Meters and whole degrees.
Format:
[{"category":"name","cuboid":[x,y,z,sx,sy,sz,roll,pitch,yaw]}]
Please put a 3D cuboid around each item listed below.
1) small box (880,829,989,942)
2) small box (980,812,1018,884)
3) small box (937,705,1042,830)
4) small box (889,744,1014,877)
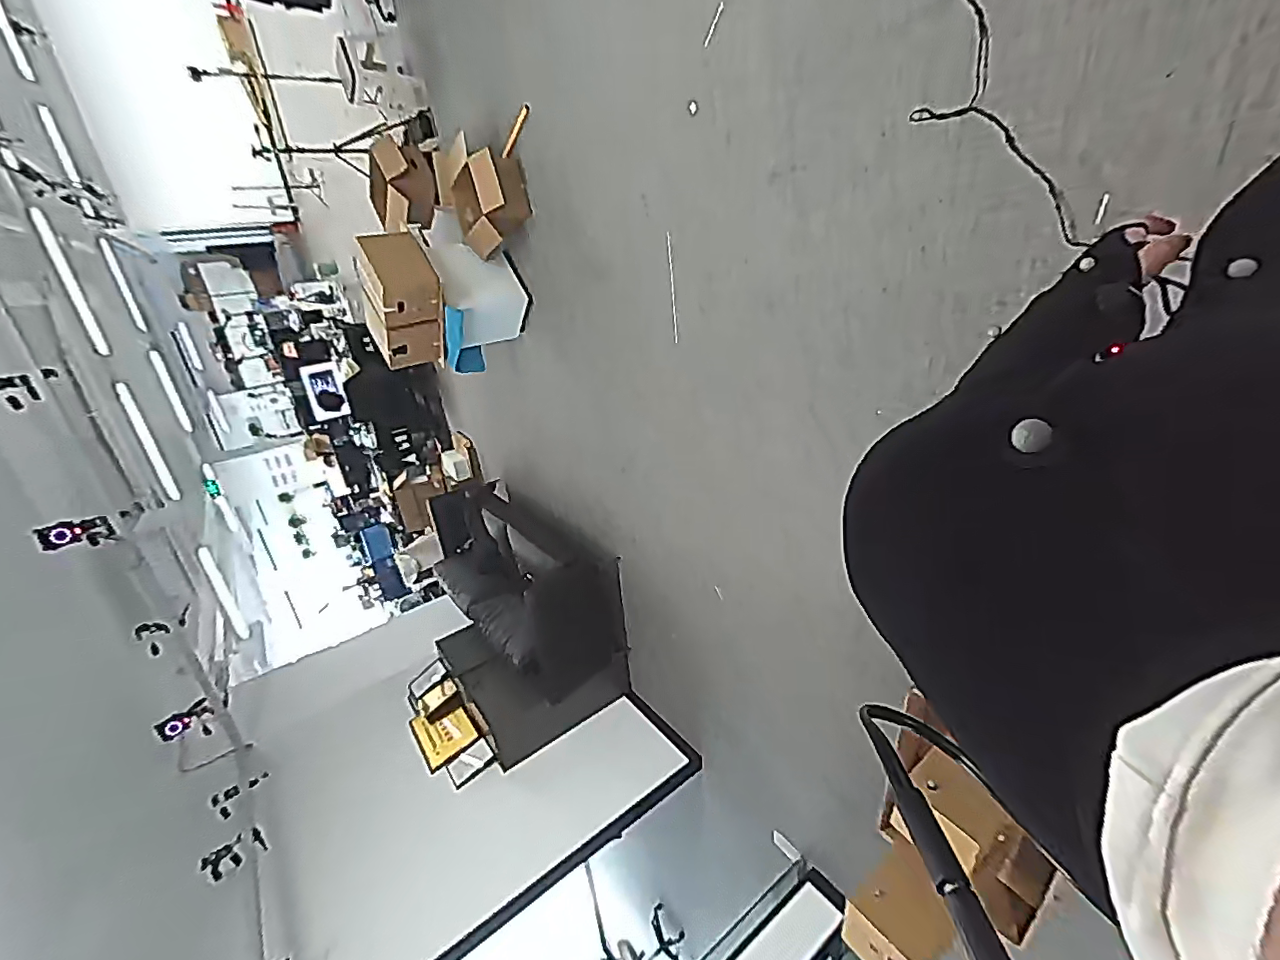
[{"category":"small box","cuboid":[0.741,0.988,1.368,0.179,0.176,0.168,25,129,47]},{"category":"small box","cuboid":[0.871,0.940,1.456,0.179,0.176,0.168,28,130,46]},{"category":"small box","cuboid":[0.848,0.698,1.334,0.179,0.176,0.168,29,133,45]},{"category":"small box","cuboid":[0.715,0.747,1.250,0.179,0.176,0.168,31,134,45]}]
